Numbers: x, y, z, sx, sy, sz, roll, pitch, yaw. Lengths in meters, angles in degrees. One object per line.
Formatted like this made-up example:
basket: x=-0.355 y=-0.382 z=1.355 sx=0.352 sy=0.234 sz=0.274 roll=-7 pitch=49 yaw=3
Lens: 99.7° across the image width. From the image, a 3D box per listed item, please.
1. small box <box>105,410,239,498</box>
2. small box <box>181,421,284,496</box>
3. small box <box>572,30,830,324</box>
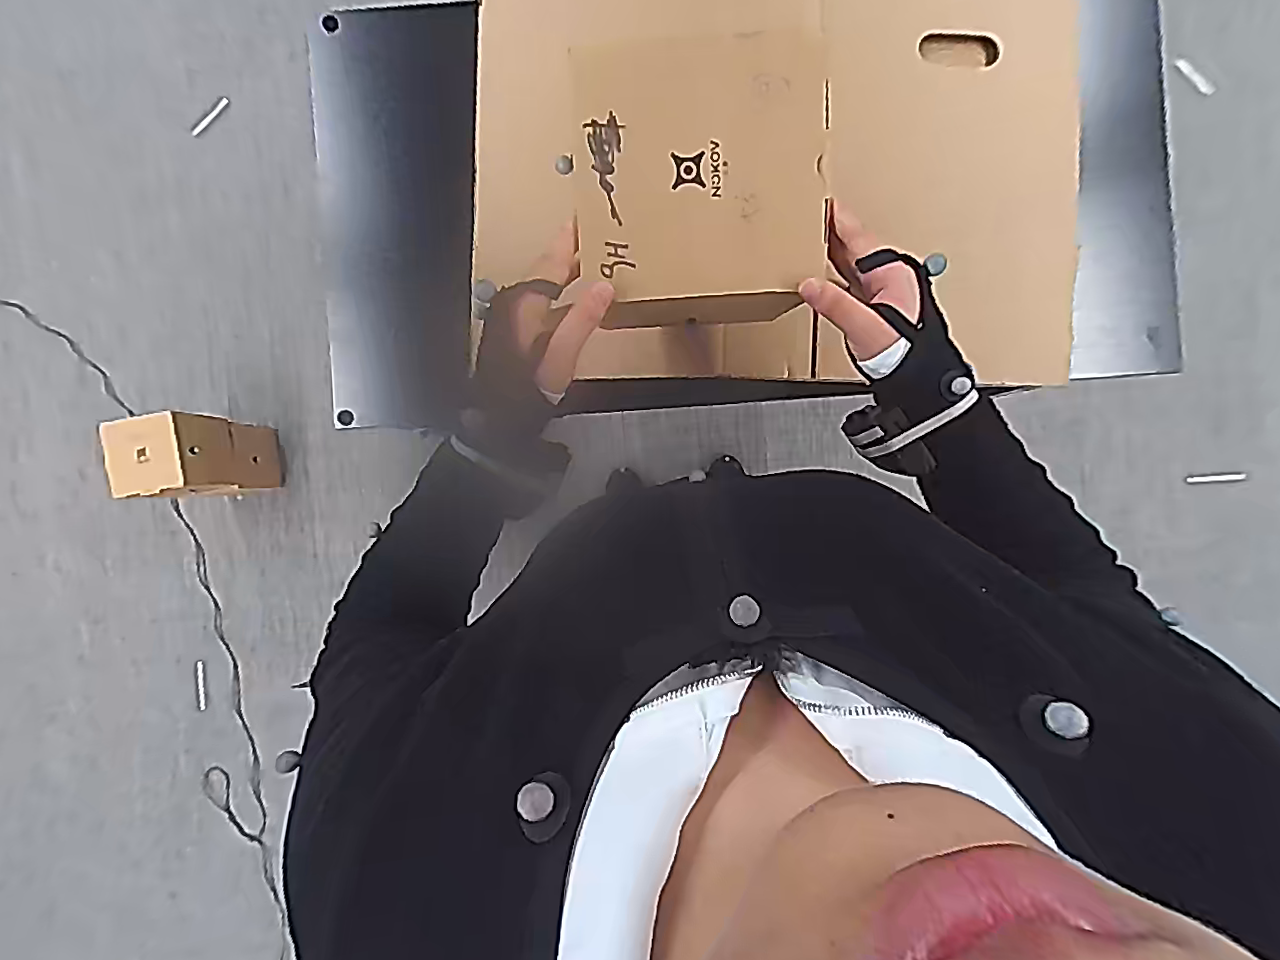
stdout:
small box: x=-1.101 y=-0.059 z=1.288 sx=0.168 sy=0.176 sz=0.179 roll=-11 pitch=90 yaw=1
small box: x=-1.097 y=-0.054 z=1.451 sx=0.168 sy=0.176 sz=0.179 roll=-8 pitch=91 yaw=1
small box: x=0.042 y=-0.228 z=0.450 sx=0.179 sy=0.176 sz=0.168 roll=-3 pitch=98 yaw=0
